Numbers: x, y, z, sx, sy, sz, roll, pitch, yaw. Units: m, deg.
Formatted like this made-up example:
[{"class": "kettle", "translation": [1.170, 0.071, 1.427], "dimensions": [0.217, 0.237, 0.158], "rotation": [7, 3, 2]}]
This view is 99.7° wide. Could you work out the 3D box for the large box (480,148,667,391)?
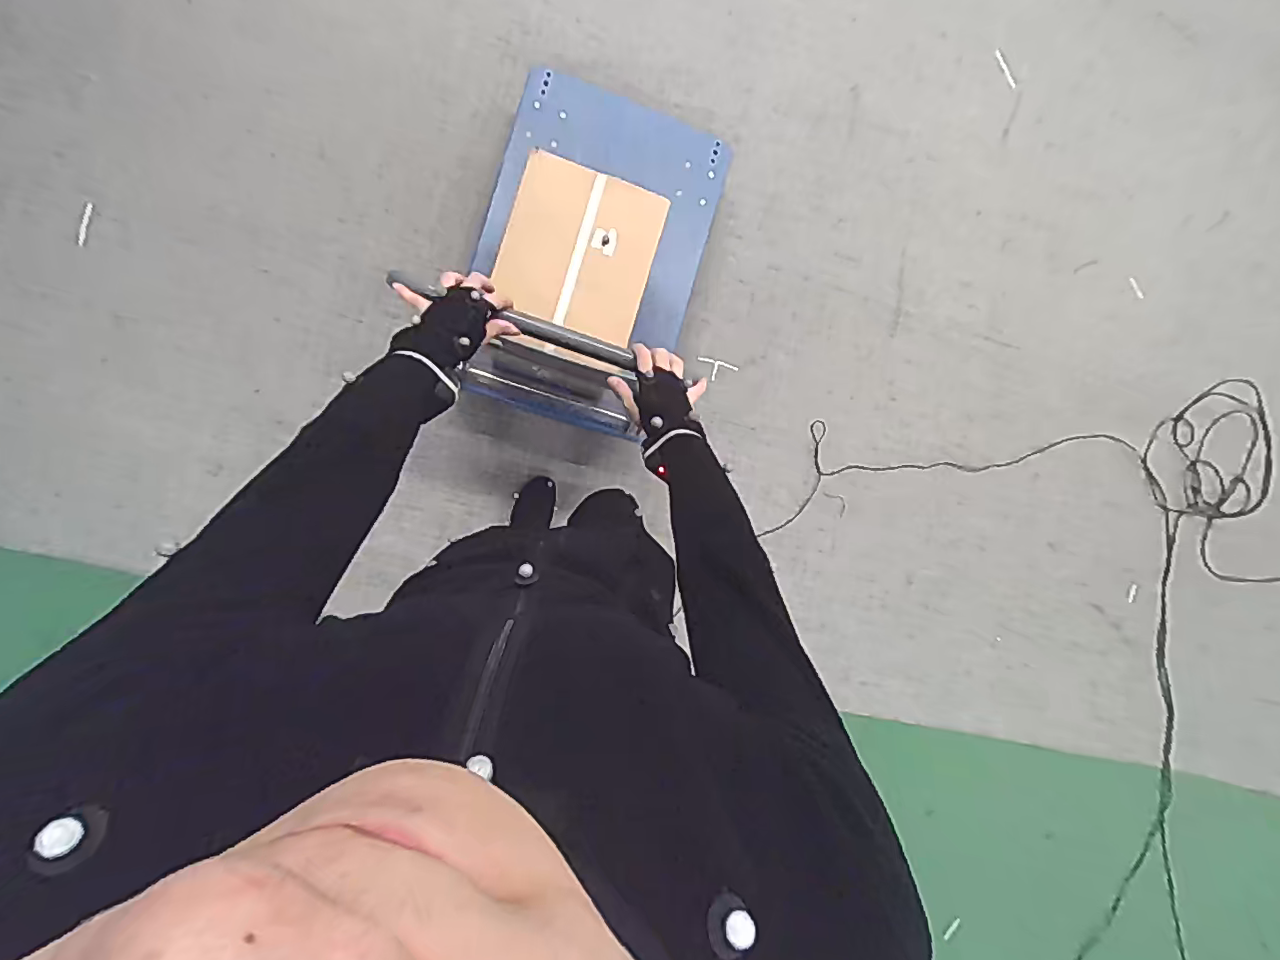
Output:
[{"class": "large box", "translation": [-0.159, -0.465, 1.293], "dimensions": [0.320, 0.320, 0.408], "rotation": [17, 88, -10]}]
